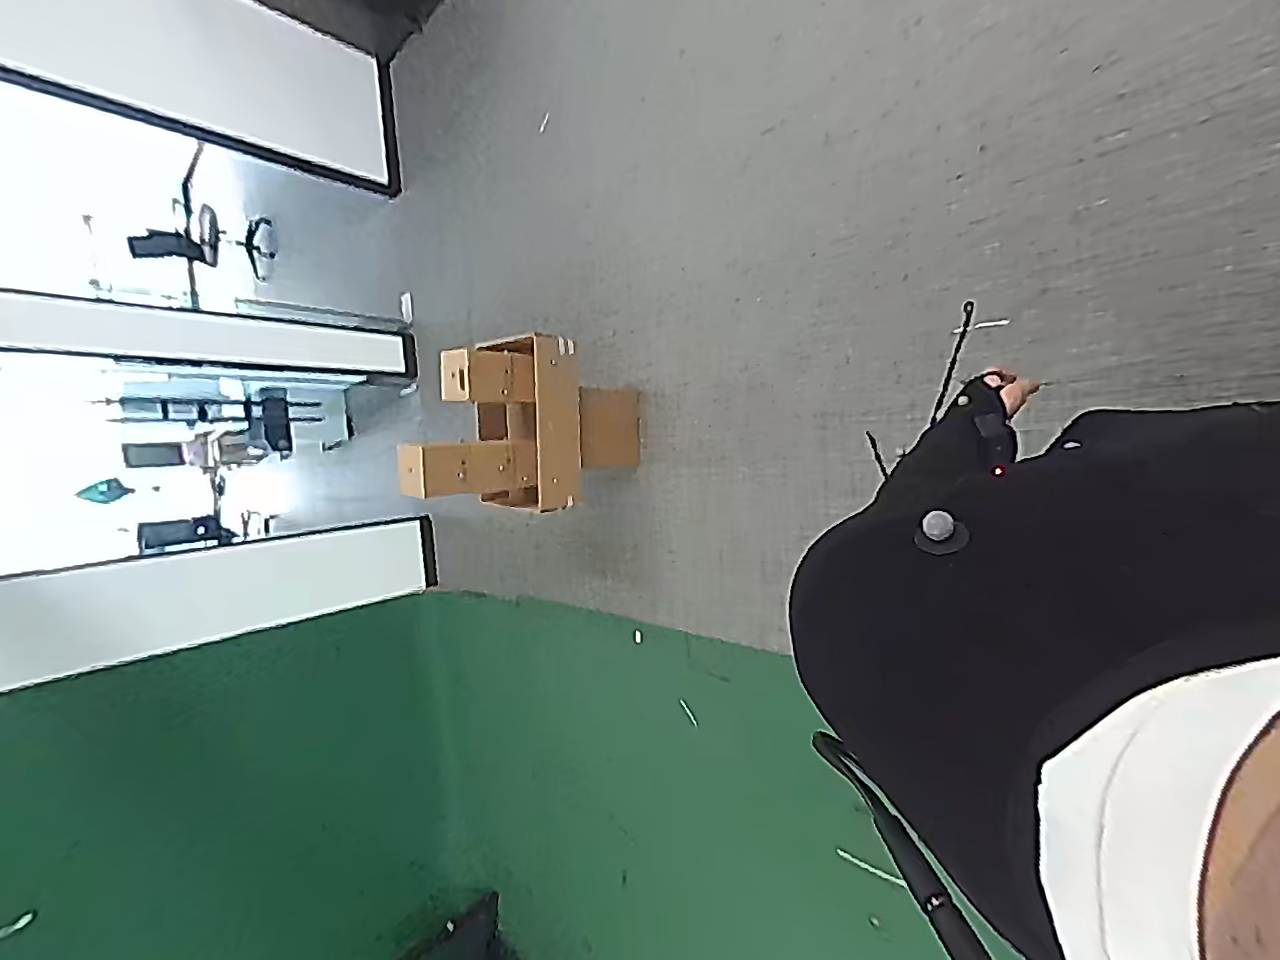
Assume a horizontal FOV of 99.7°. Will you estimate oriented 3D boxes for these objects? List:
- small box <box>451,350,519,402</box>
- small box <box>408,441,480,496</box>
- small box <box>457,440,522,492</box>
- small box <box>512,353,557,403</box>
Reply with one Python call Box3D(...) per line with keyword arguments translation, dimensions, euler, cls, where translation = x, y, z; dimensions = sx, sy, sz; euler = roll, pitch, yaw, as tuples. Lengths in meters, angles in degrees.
Box3D(translation=(-0.534, -0.358, 1.874), dimensions=(0.179, 0.176, 0.168), euler=(7, 98, 42), cls="small box")
Box3D(translation=(-0.645, -0.043, 1.785), dimensions=(0.179, 0.176, 0.168), euler=(7, 100, 43), cls="small box")
Box3D(translation=(-0.534, -0.054, 1.904), dimensions=(0.179, 0.176, 0.168), euler=(8, 101, 42), cls="small box")
Box3D(translation=(-0.427, -0.373, 1.998), dimensions=(0.179, 0.176, 0.168), euler=(5, 97, 42), cls="small box")
